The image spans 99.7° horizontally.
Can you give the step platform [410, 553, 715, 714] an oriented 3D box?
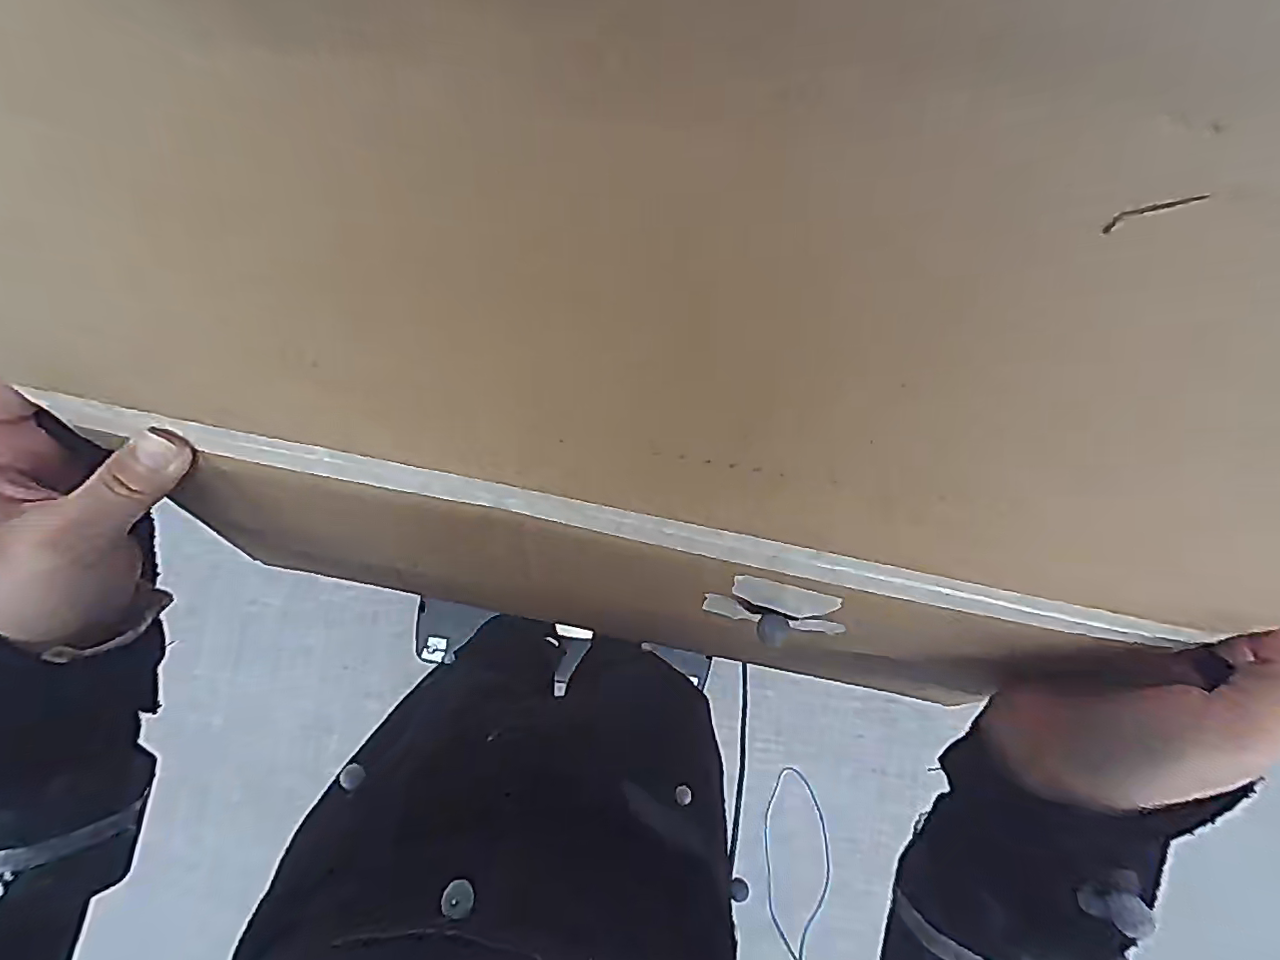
[{"bbox_3d":[-0.171,0.317,1.277,0.684,0.204,0.286,15,85,1],"label":"step platform"}]
